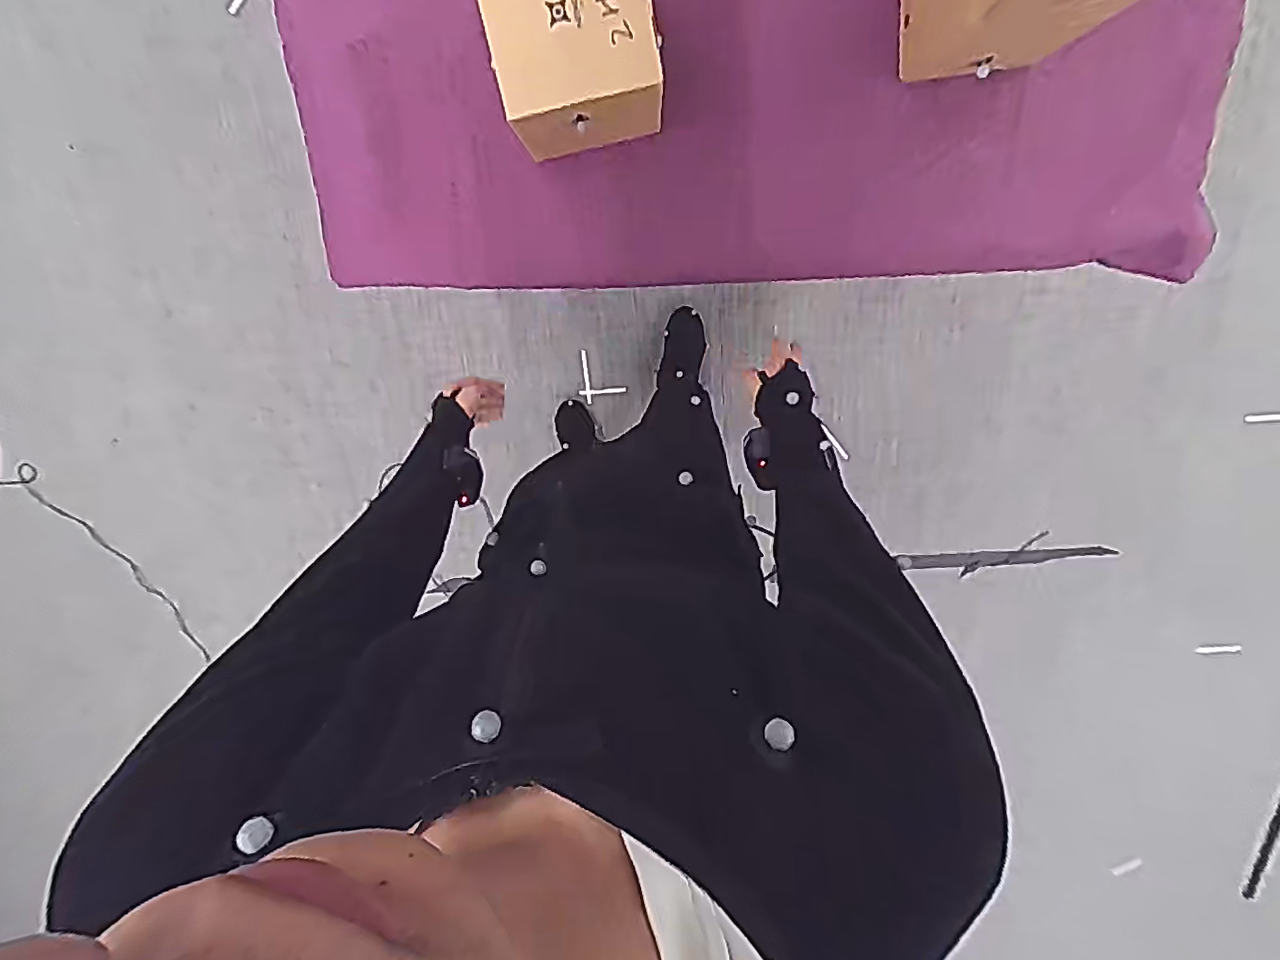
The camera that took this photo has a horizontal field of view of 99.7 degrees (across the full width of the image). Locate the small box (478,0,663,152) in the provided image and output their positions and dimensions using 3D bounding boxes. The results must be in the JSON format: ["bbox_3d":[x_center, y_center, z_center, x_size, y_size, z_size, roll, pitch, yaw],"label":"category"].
[{"bbox_3d":[-0.073,-0.502,0.620,0.179,0.176,0.168,-11,107,3],"label":"small box"}]

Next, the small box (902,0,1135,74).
[{"bbox_3d":[0.416,-0.581,0.593,0.179,0.176,0.168,-7,107,2],"label":"small box"}]
